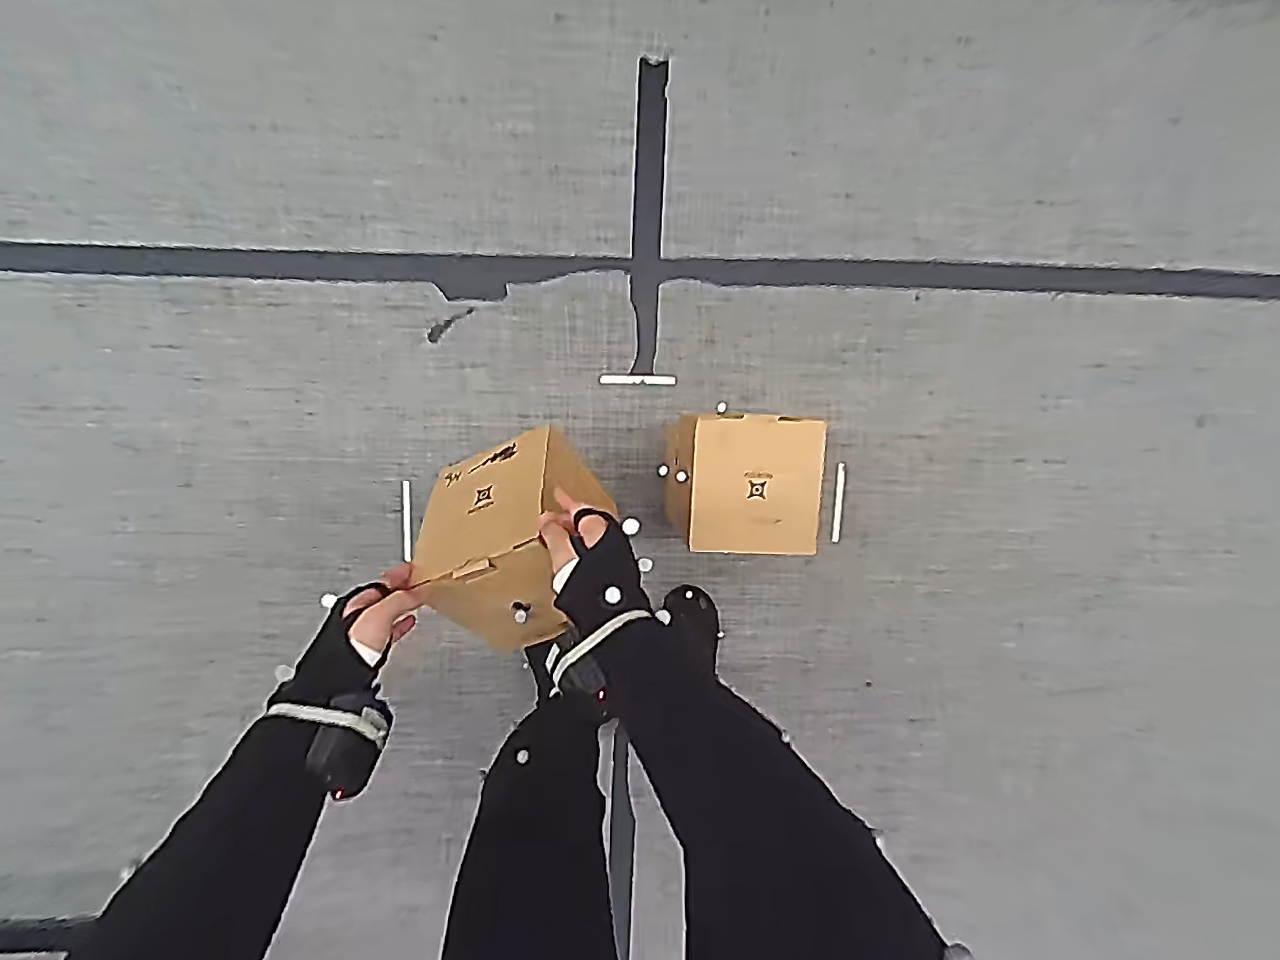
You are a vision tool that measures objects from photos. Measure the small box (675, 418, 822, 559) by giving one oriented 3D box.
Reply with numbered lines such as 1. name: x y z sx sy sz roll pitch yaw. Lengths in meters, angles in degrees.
1. small box: 0.142 0.003 0.768 0.168 0.176 0.179 2 98 -3

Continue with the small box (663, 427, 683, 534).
1. small box: 0.137 -0.006 0.931 0.179 0.176 0.168 0 97 -3
